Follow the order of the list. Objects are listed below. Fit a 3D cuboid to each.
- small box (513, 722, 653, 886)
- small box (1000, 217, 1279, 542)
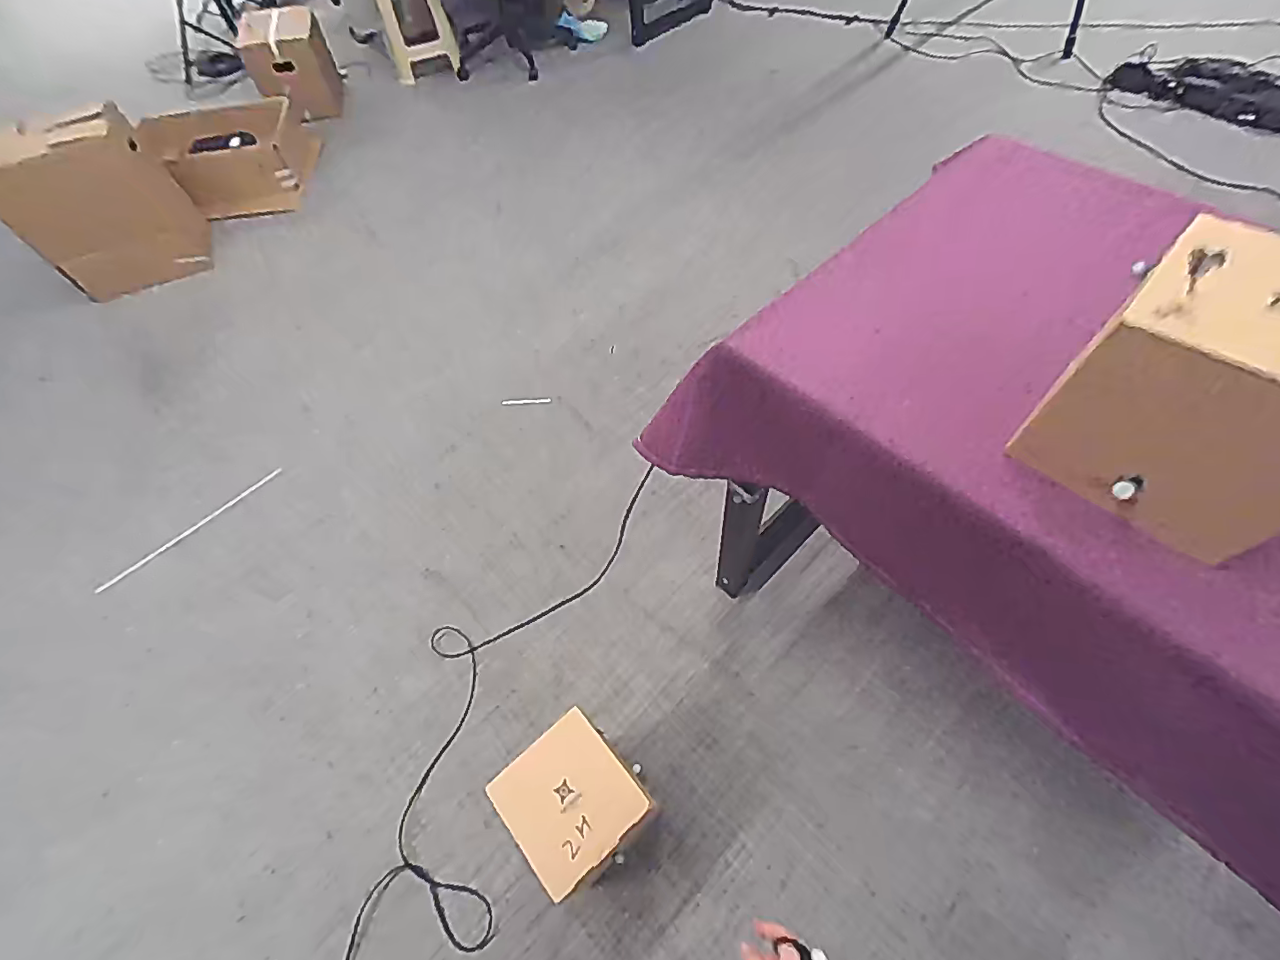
[{"bbox_3d":[-0.089,0.564,0.949,0.179,0.176,0.168,-38,63,-20],"label":"small box"},{"bbox_3d":[0.455,-0.072,0.445,0.179,0.176,0.168,39,67,23],"label":"small box"}]
